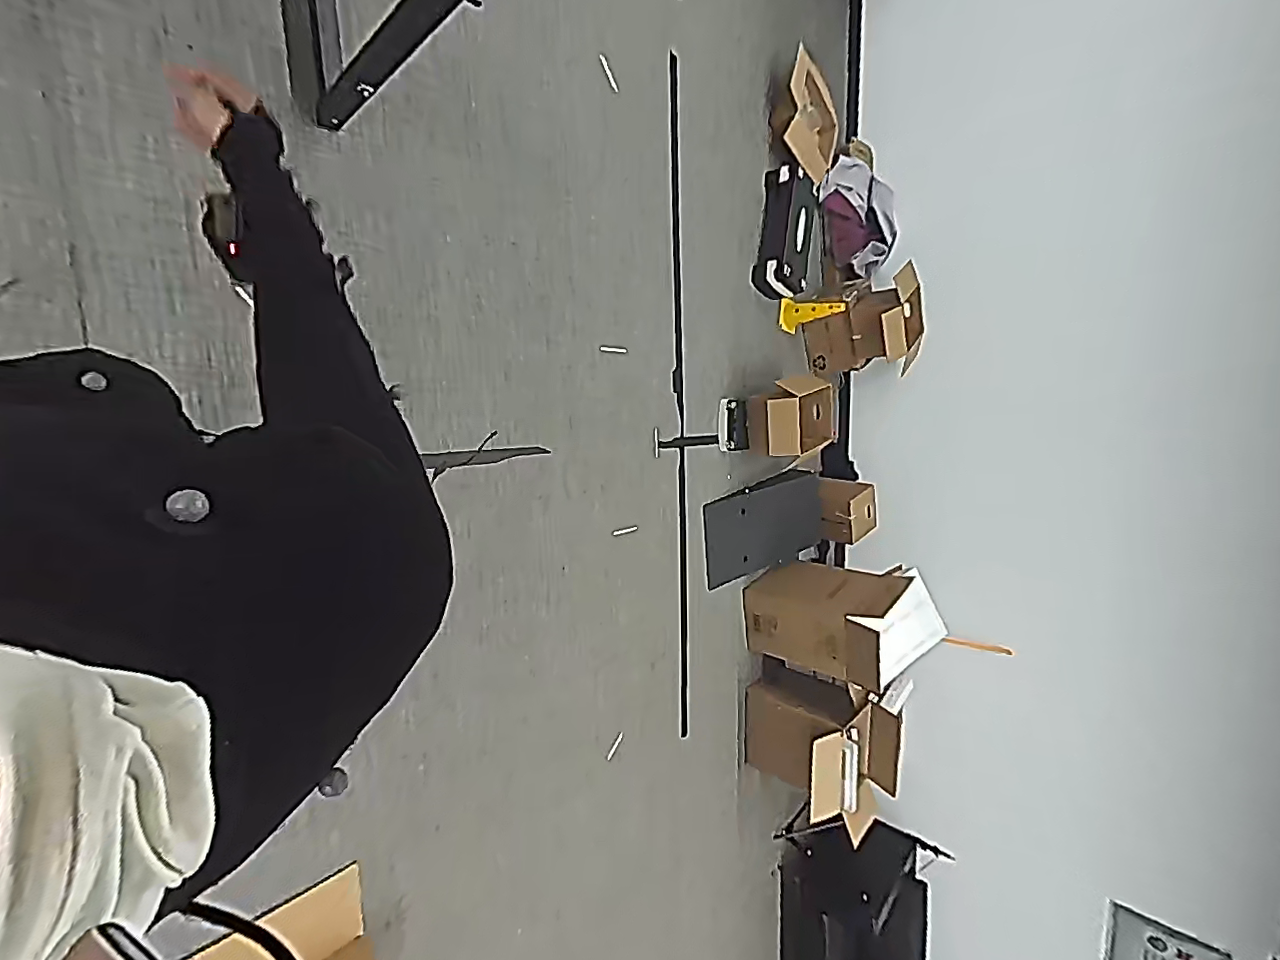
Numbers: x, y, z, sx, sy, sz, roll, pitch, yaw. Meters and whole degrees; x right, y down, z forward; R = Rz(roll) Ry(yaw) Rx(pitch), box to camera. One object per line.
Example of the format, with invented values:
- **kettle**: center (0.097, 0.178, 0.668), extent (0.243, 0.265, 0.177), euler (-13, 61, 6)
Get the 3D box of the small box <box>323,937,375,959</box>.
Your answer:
- **small box**: center (-0.874, 1.512, 1.579), extent (0.179, 0.176, 0.168), euler (-9, 101, -48)
